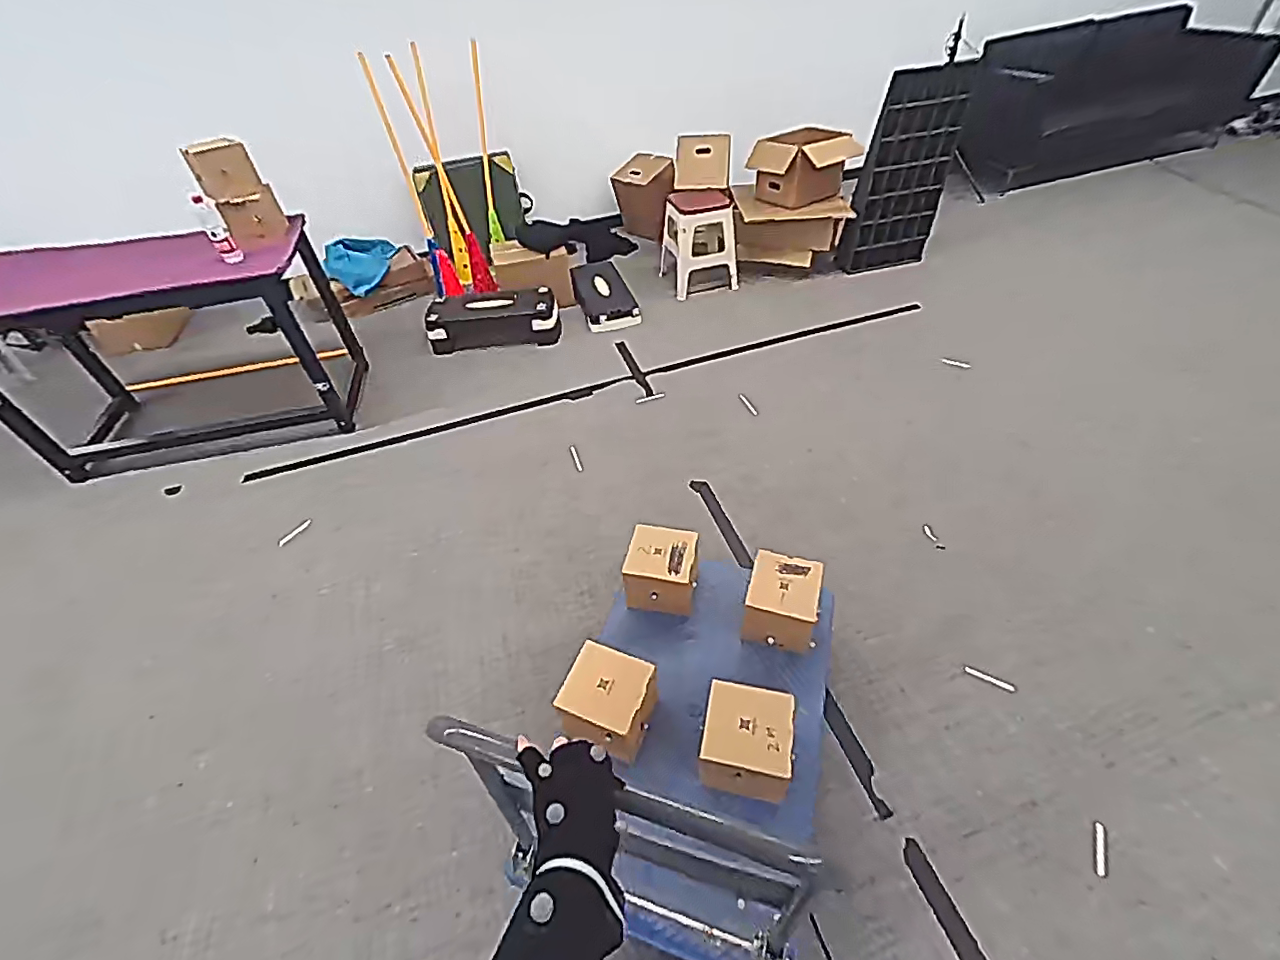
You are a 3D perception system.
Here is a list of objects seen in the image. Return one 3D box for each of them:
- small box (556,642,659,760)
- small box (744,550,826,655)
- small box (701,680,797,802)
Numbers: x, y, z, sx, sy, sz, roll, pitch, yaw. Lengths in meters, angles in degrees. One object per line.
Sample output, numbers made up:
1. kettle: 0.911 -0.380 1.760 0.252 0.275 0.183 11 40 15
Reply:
1. small box: -0.065 0.503 1.225 0.179 0.176 0.168 15 48 18
2. small box: 0.365 0.311 1.374 0.168 0.176 0.179 11 48 17
3. small box: 0.229 0.553 1.142 0.179 0.176 0.168 7 46 13
